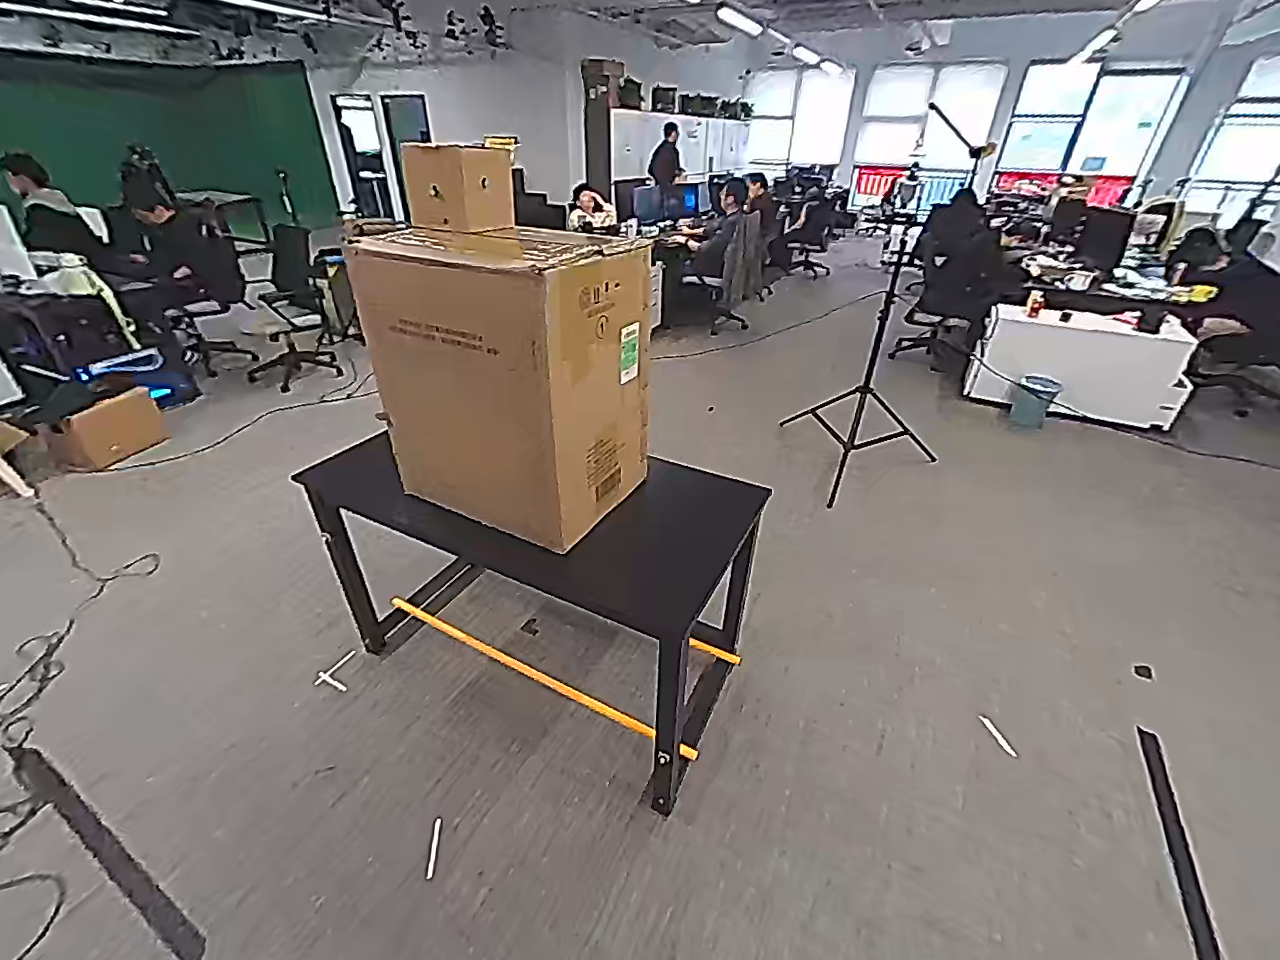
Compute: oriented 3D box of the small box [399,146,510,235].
[{"bbox_3d":[-0.414,-0.666,1.241,0.168,0.176,0.179,15,33,19],"label":"small box"}]
